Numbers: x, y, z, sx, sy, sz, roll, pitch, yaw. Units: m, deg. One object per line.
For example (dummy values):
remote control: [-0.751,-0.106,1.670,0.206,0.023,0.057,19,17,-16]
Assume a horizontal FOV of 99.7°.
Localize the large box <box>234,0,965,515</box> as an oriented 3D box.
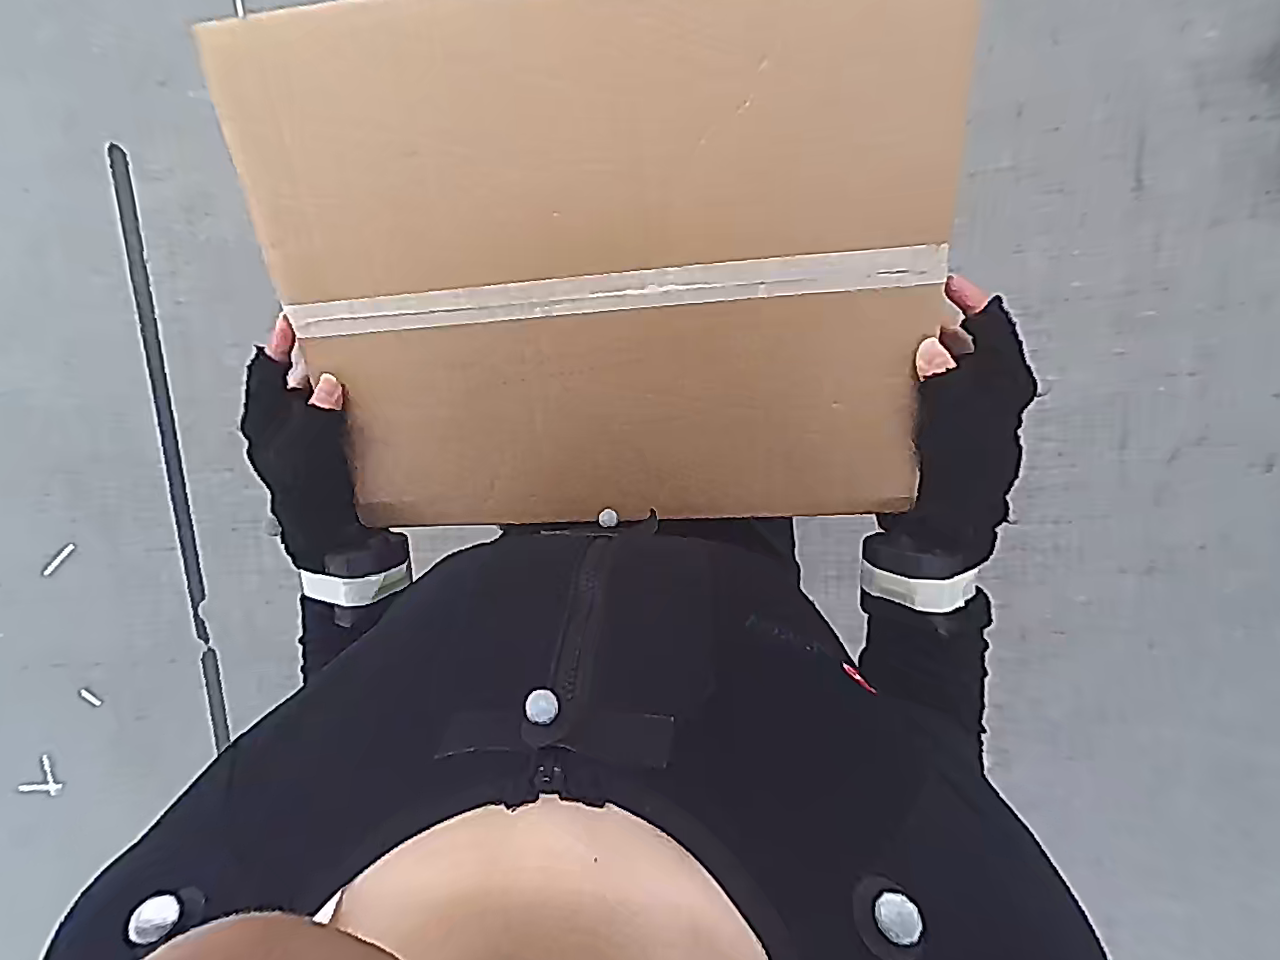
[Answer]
large box: [-0.011,-0.180,0.475,0.408,0.320,0.320,-2,115,7]
